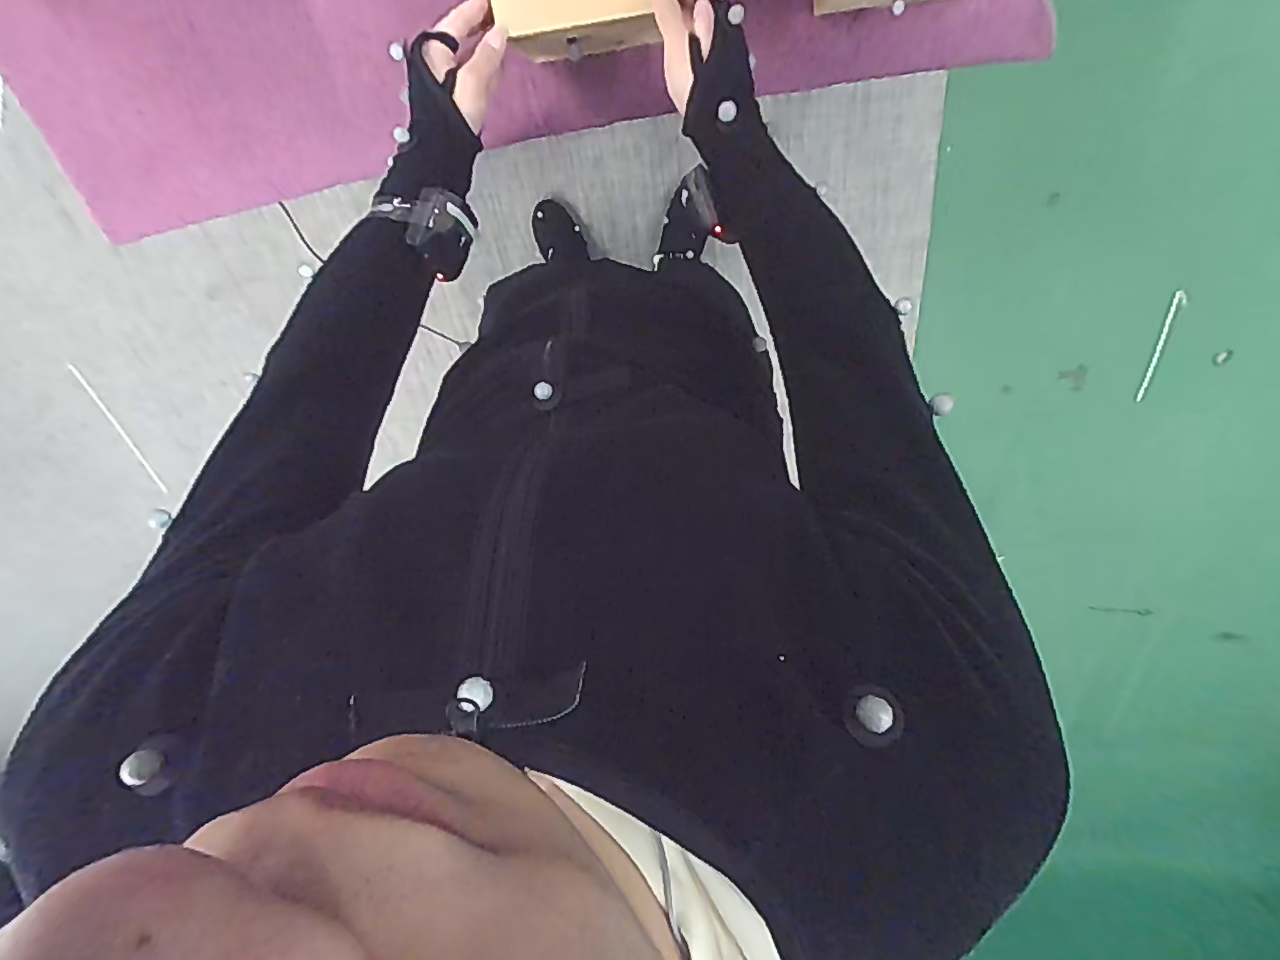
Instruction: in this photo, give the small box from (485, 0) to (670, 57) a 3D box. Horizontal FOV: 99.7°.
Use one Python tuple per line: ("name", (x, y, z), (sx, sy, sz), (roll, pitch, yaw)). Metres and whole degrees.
("small box", (-0.060, -0.526, 0.514), (0.168, 0.176, 0.179), (-5, 121, 6))
